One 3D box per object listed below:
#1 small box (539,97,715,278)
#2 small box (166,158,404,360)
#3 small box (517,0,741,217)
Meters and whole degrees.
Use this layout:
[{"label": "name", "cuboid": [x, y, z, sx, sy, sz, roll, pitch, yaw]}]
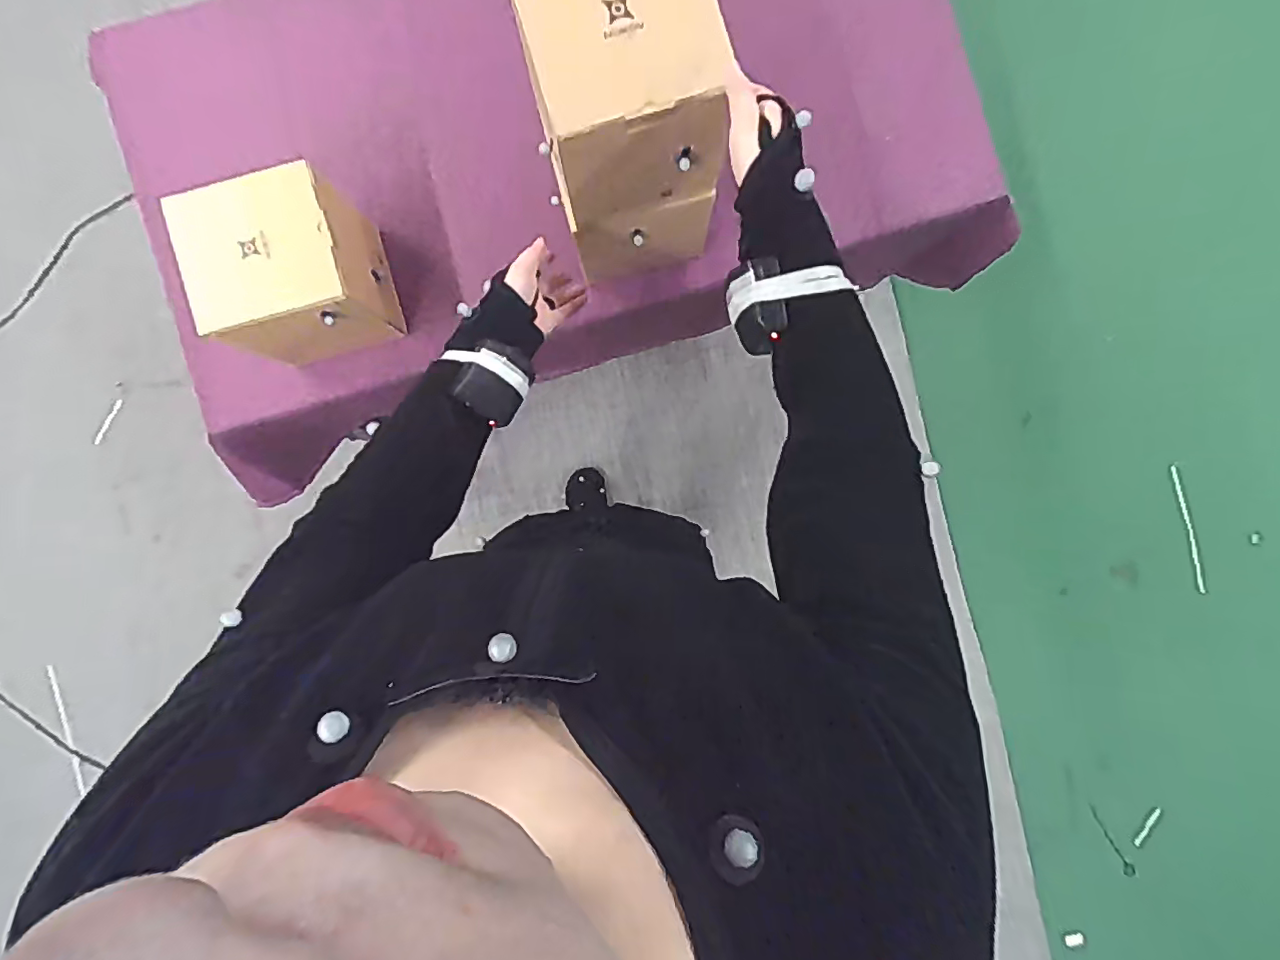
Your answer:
[{"label": "small box", "cuboid": [-0.015, -0.384, 0.701, 0.179, 0.176, 0.168, -14, 91, -1]}, {"label": "small box", "cuboid": [-0.440, -0.268, 0.698, 0.179, 0.176, 0.168, -16, 90, -2]}, {"label": "small box", "cuboid": [-0.014, -0.390, 0.538, 0.168, 0.176, 0.179, -17, 90, -1]}]
